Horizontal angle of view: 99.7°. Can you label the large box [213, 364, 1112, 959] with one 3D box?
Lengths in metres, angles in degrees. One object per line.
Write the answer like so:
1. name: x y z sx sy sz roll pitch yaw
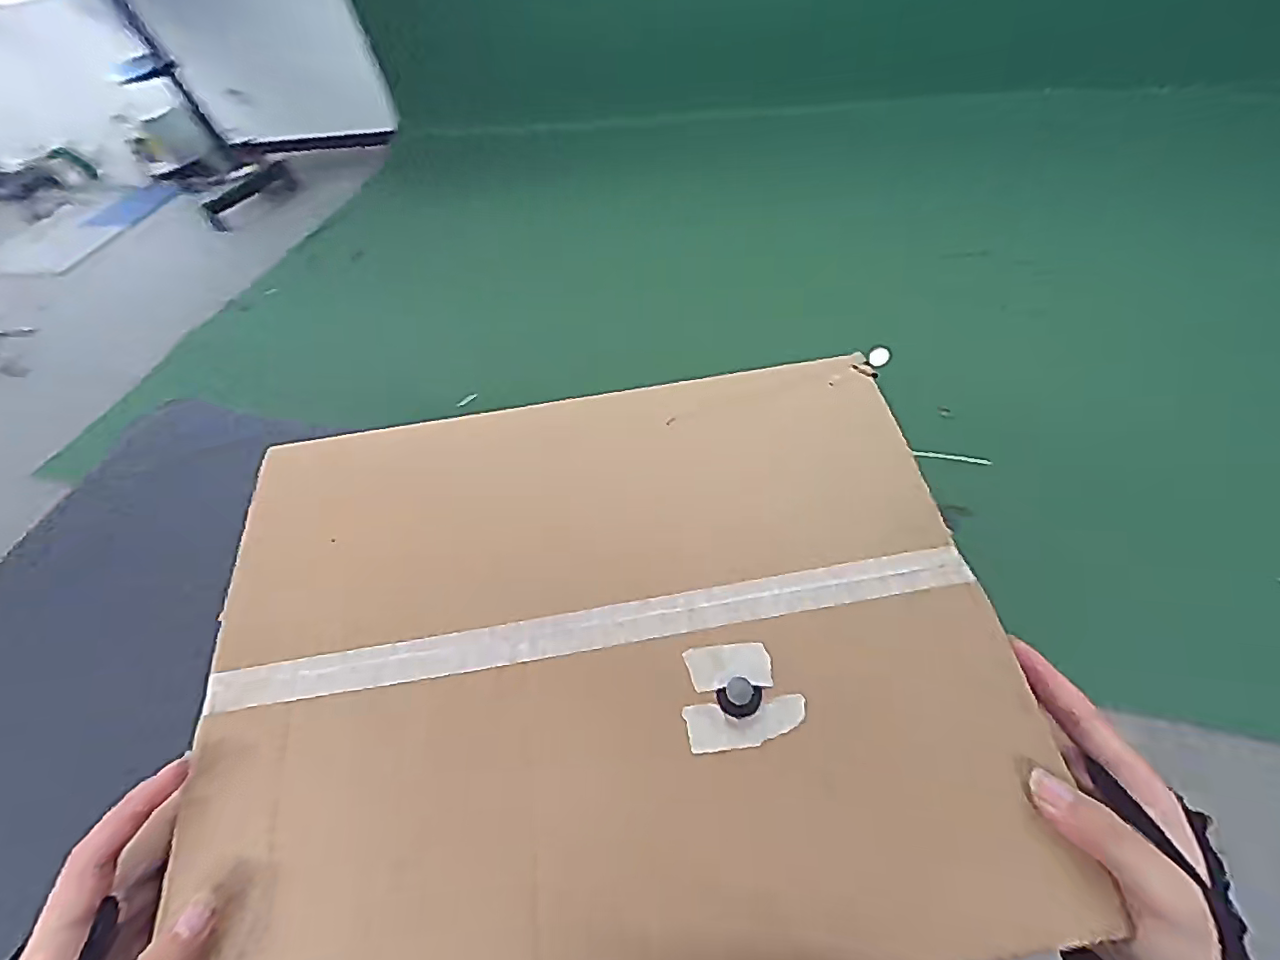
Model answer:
1. large box: -0.003 0.151 0.431 0.408 0.320 0.320 -8 61 -2
